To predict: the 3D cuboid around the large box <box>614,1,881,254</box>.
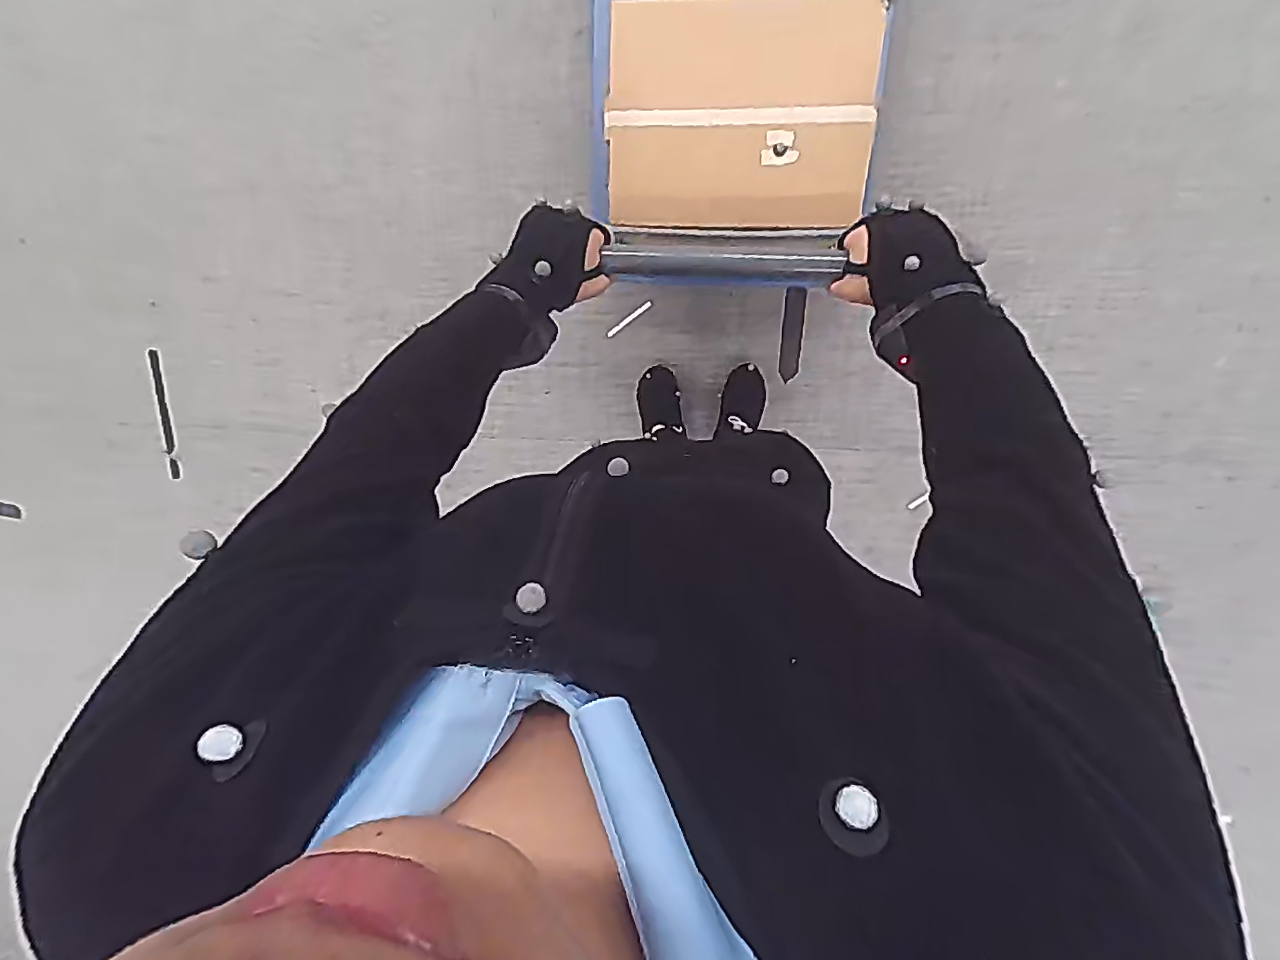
[{"bbox_3d":[0.170,-0.602,0.994,0.408,0.320,0.320,3,107,6],"label":"large box"}]
